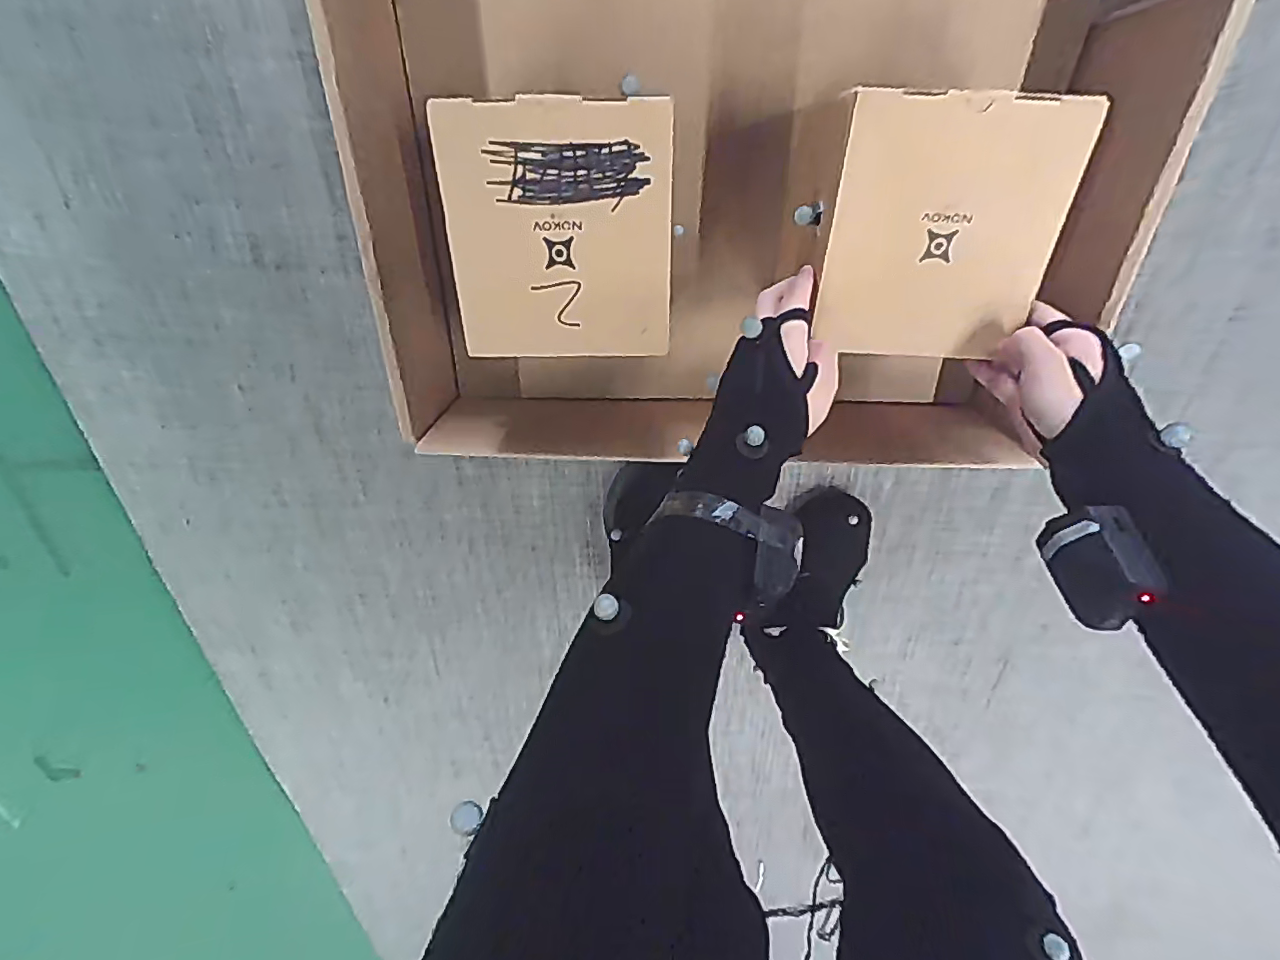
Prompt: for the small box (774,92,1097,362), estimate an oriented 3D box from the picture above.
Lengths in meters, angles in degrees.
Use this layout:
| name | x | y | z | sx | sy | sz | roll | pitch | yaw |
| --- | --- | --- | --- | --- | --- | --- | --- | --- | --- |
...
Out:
| name | x | y | z | sx | sy | sz | roll | pitch | yaw |
| --- | --- | --- | --- | --- | --- | --- | --- | --- | --- |
| small box | 0.218 | -0.214 | 0.463 | 0.168 | 0.176 | 0.179 | 3 | 119 | 1 |
